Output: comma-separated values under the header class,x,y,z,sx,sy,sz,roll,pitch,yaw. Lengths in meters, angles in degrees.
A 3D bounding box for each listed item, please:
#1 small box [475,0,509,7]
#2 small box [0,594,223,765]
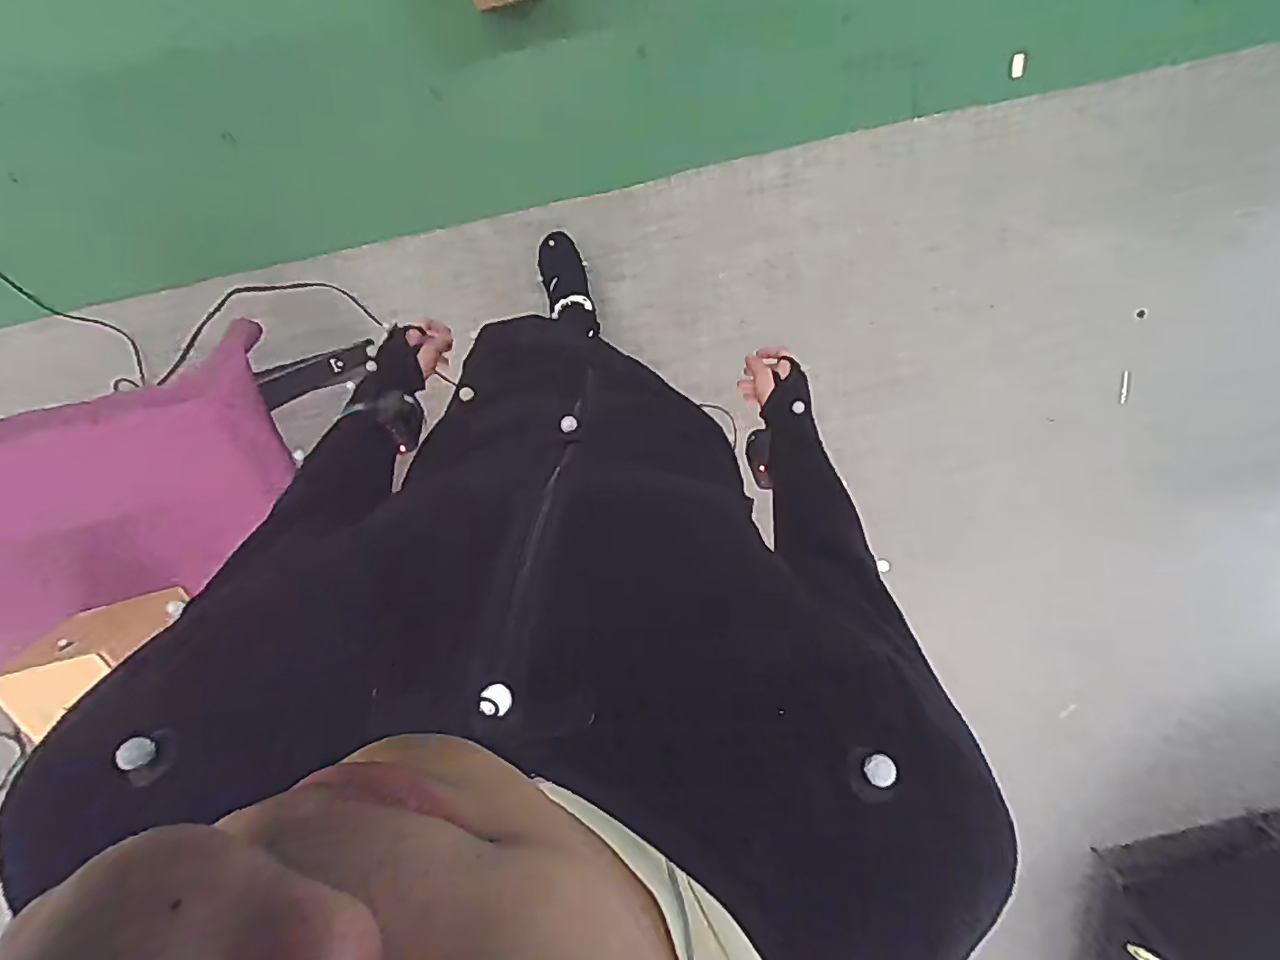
class,x,y,z,sx,sy,sz,roll,pitch,yaw
small box,-0.300,-1.125,1.116,0.168,0.176,0.179,-15,112,1
small box,-0.809,0.302,0.850,0.179,0.176,0.168,-15,112,0
